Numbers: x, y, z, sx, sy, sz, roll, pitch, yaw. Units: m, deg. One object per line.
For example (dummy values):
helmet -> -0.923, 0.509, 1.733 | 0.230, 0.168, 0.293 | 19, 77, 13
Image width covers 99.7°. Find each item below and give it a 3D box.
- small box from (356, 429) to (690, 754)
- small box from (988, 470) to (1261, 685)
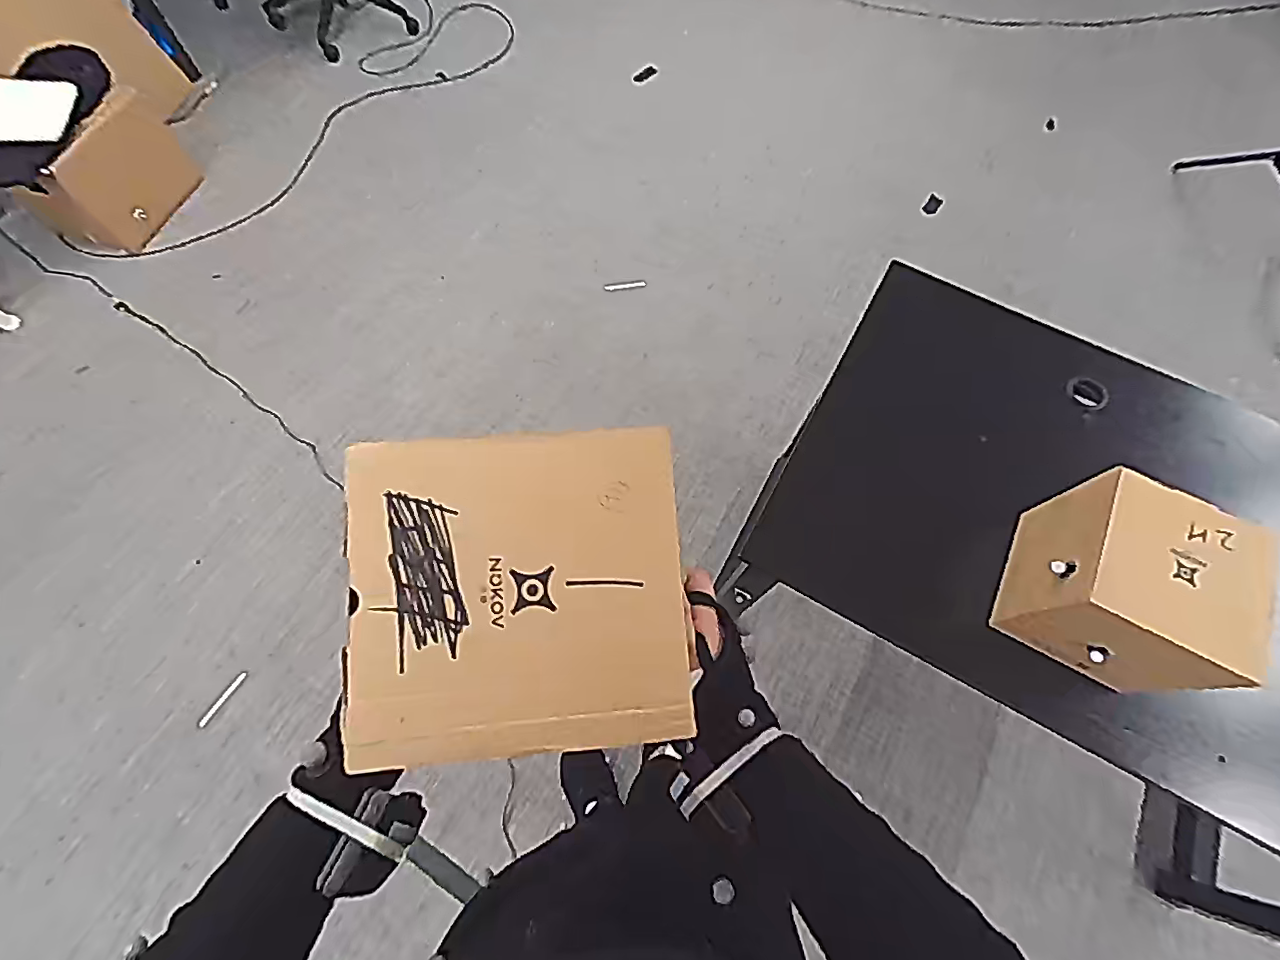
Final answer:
small box -> -0.069, 0.068, 0.372 | 0.179, 0.176, 0.168 | -4, 82, -4
small box -> 0.554, 0.125, 0.640 | 0.168, 0.176, 0.179 | 28, 68, 10
